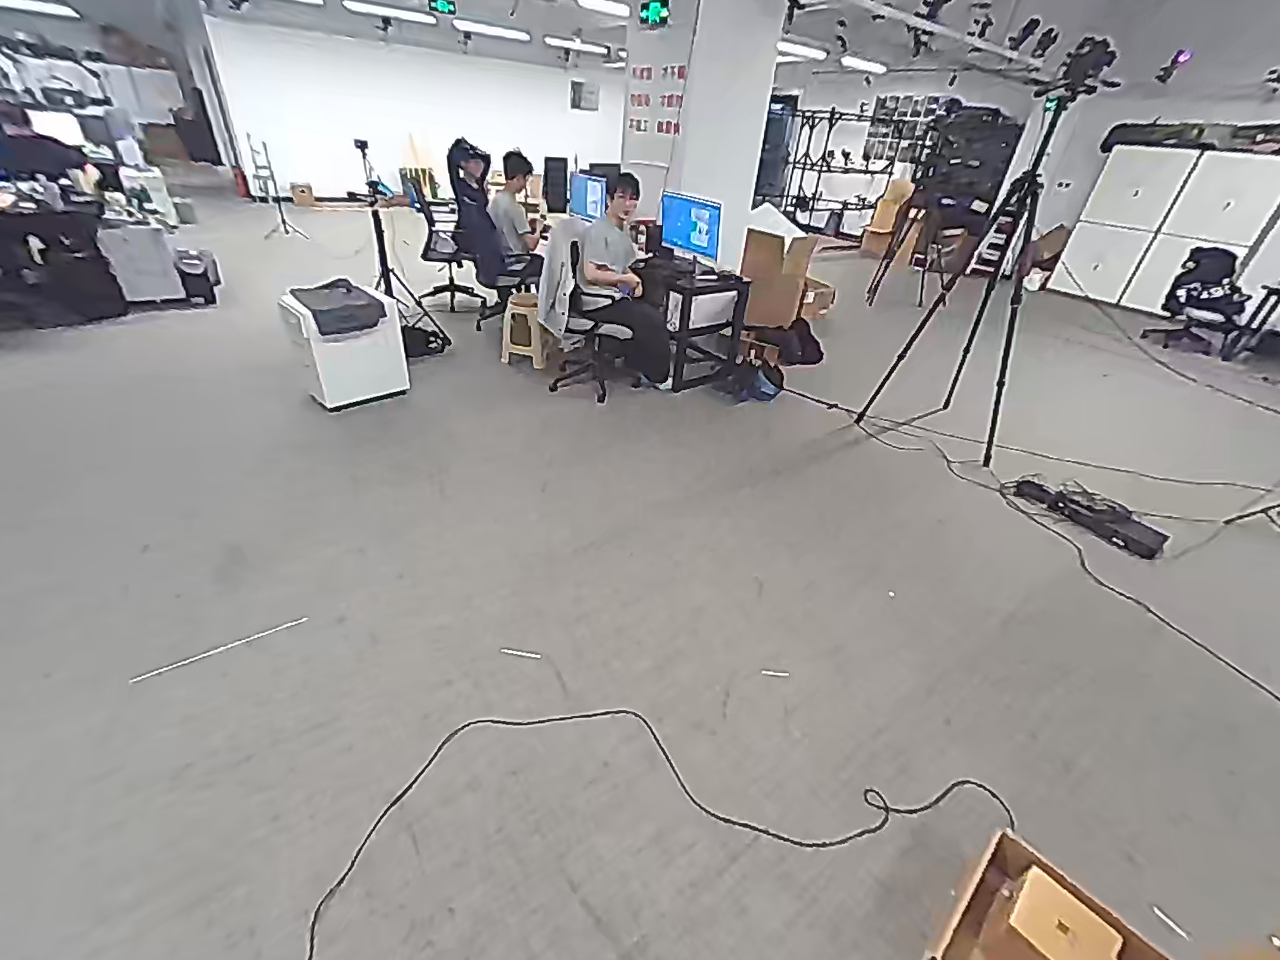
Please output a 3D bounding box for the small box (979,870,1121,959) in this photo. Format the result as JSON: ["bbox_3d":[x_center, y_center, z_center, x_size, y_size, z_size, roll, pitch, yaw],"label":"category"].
[{"bbox_3d":[0.880,1.015,1.175,0.168,0.176,0.179,-24,44,-35],"label":"small box"}]
